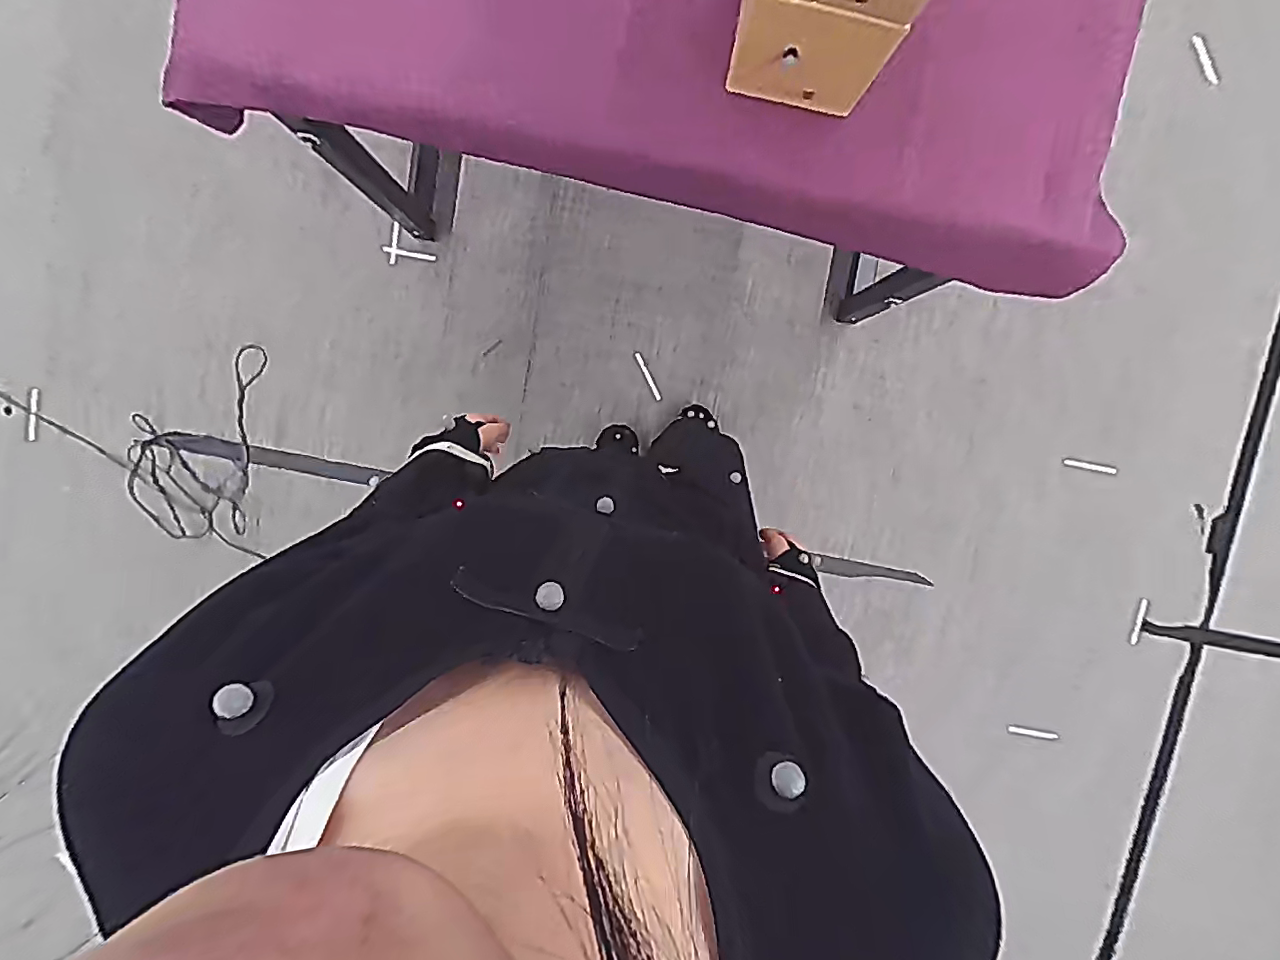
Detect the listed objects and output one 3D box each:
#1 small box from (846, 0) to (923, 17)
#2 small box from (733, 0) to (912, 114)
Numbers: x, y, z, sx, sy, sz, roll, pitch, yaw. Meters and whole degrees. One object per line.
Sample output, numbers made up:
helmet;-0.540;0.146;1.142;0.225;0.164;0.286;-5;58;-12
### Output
small box;0.218;-0.555;0.461;0.168;0.176;0.179;12;95;-2
small box;0.212;-0.567;0.625;0.168;0.176;0.179;11;95;-2
